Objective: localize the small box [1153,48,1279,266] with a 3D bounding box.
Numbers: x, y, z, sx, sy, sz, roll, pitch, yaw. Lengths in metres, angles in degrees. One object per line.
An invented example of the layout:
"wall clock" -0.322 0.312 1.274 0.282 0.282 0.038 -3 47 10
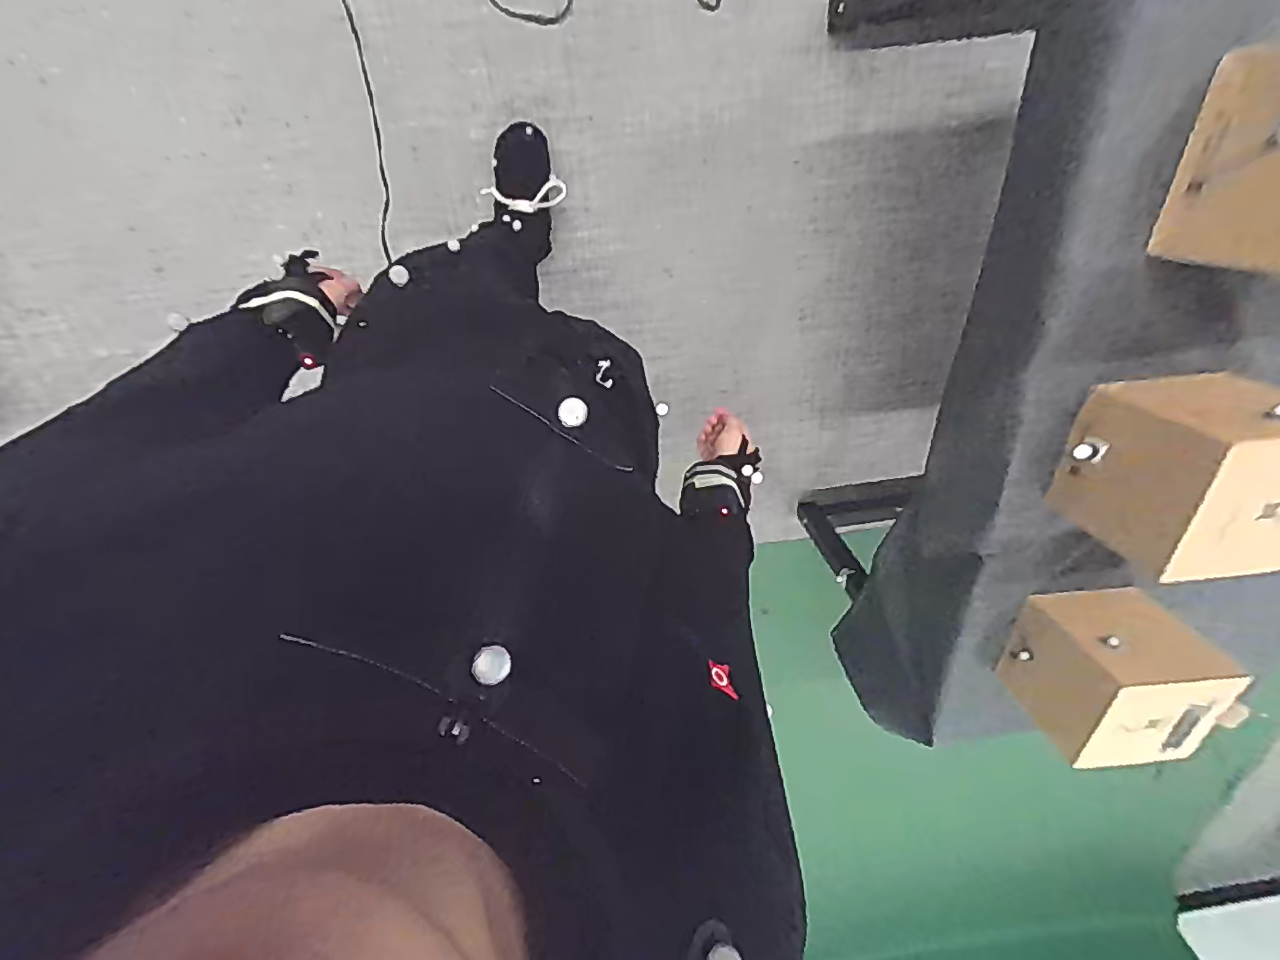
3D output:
"small box" 0.609 -0.275 0.456 0.179 0.176 0.168 -6 119 -5

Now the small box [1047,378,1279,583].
"small box" 0.619 -0.009 0.606 0.179 0.176 0.168 -6 118 -3
